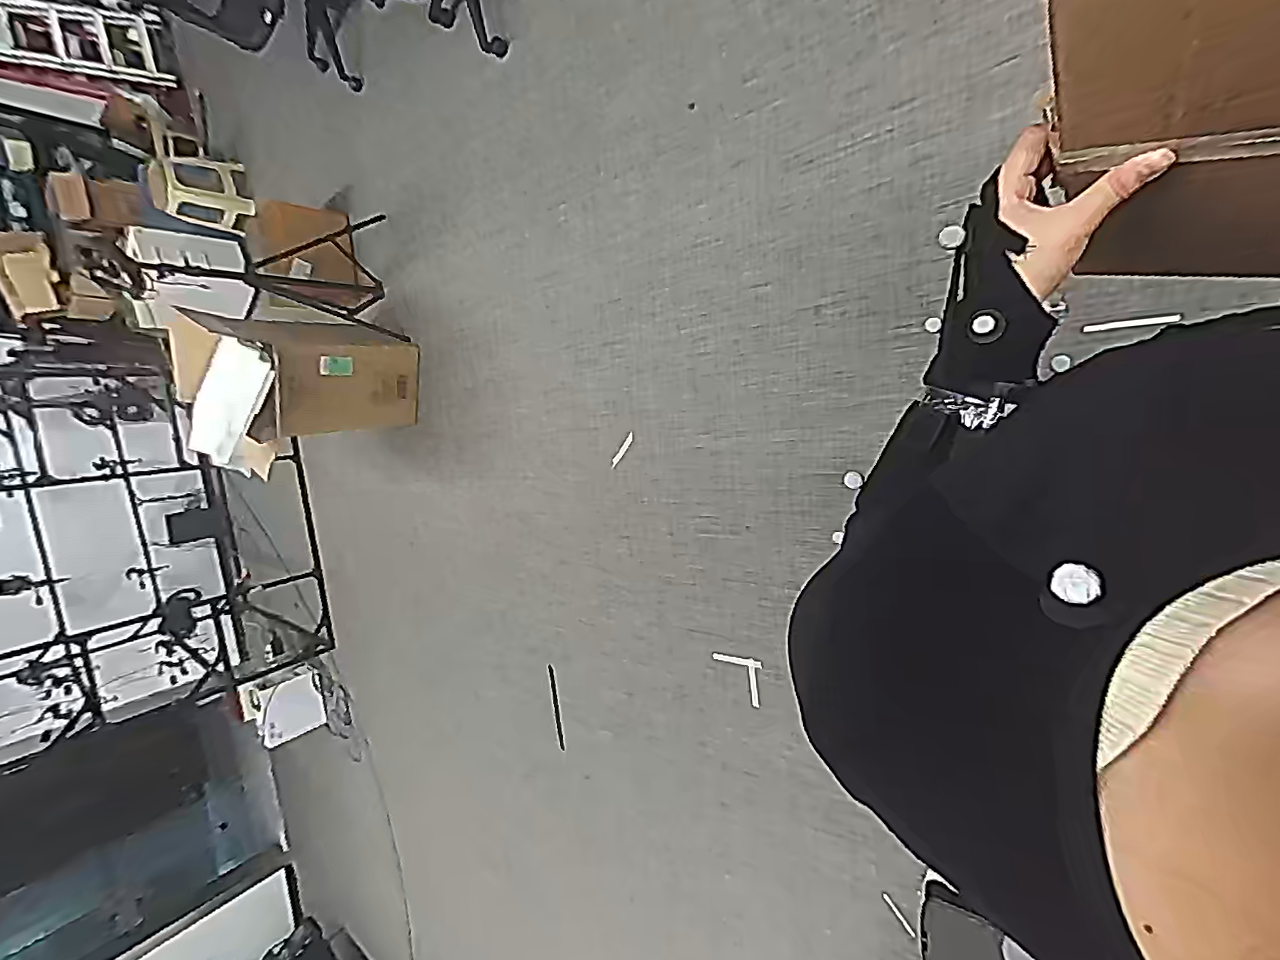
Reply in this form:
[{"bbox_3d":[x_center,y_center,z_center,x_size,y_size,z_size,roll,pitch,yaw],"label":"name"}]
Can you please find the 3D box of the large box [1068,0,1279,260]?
[{"bbox_3d":[0.426,-0.289,0.162,0.408,0.320,0.320,20,94,42],"label":"large box"}]
